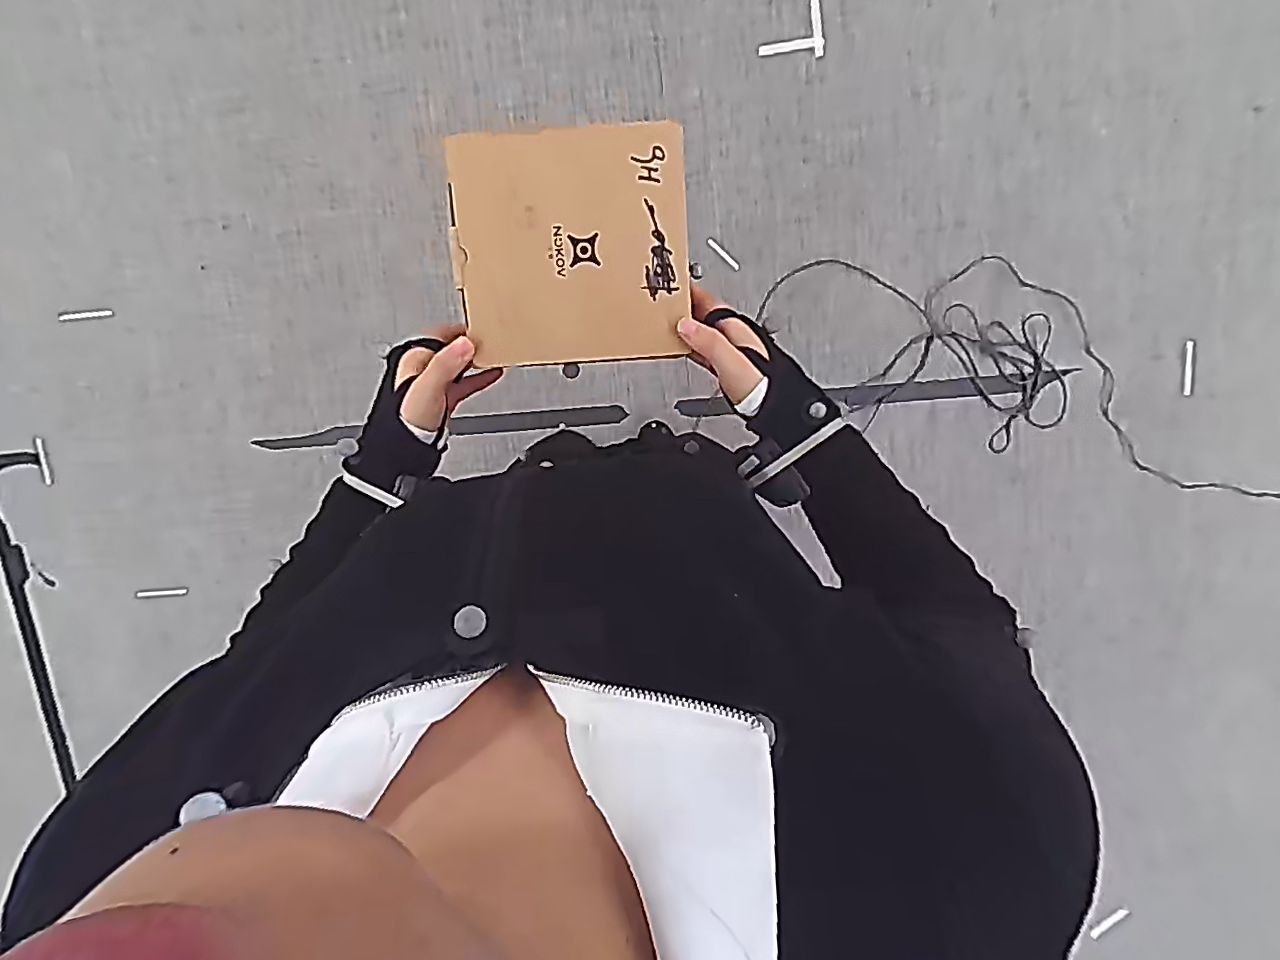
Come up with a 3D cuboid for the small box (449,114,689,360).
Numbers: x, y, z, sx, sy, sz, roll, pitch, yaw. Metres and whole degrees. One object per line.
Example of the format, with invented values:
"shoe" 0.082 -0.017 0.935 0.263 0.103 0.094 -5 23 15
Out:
"small box" -0.050 -0.198 0.488 0.179 0.176 0.168 -3 101 0
